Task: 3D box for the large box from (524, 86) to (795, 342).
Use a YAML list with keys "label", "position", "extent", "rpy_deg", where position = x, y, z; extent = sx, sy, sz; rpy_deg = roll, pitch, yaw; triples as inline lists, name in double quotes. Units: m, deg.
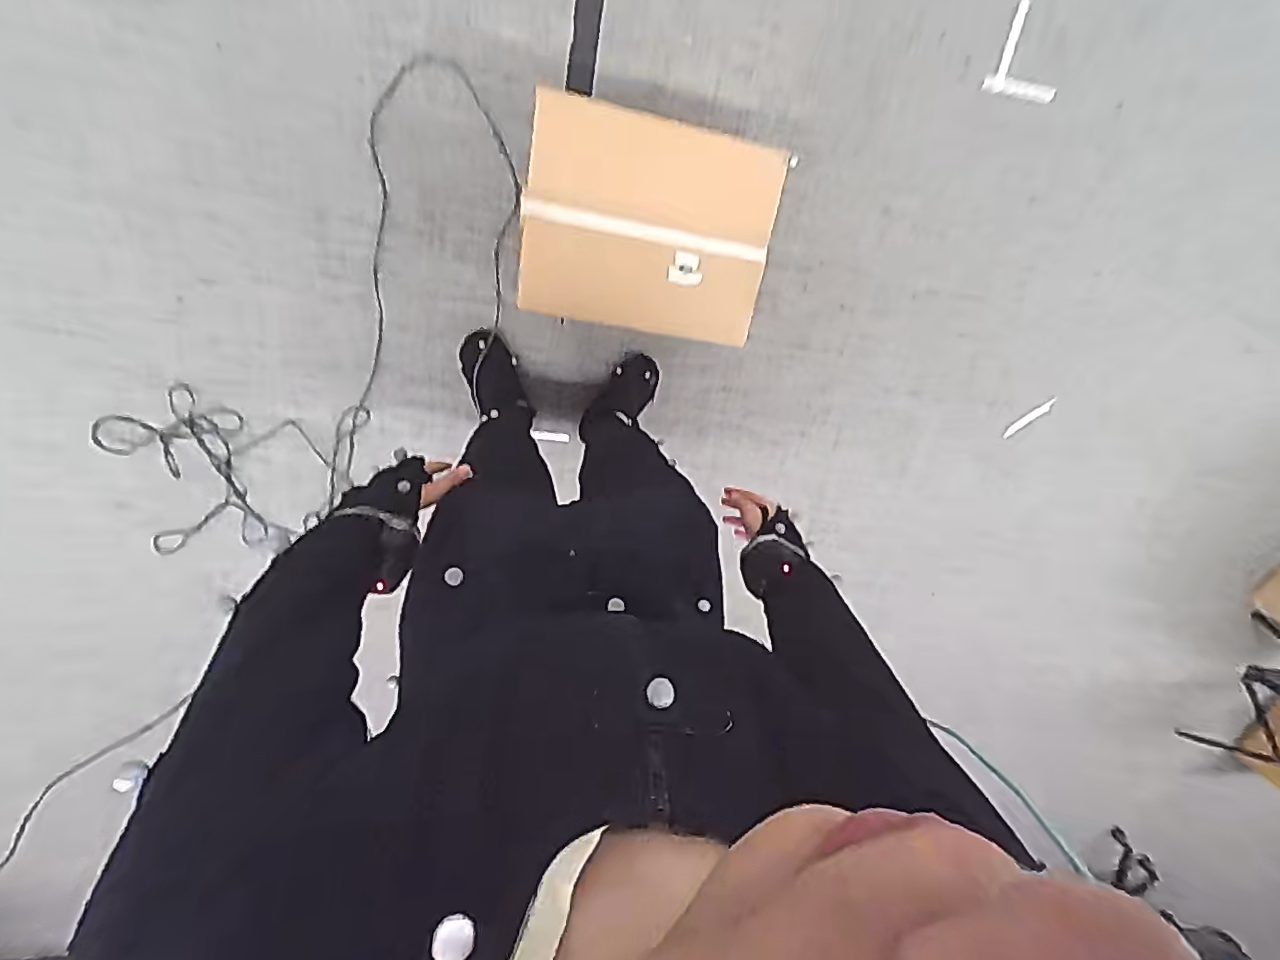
- label: "large box"
  position: [0.001, -0.455, 0.991]
  extent: [0.408, 0.320, 0.320]
  rpy_deg: [6, 112, -14]
